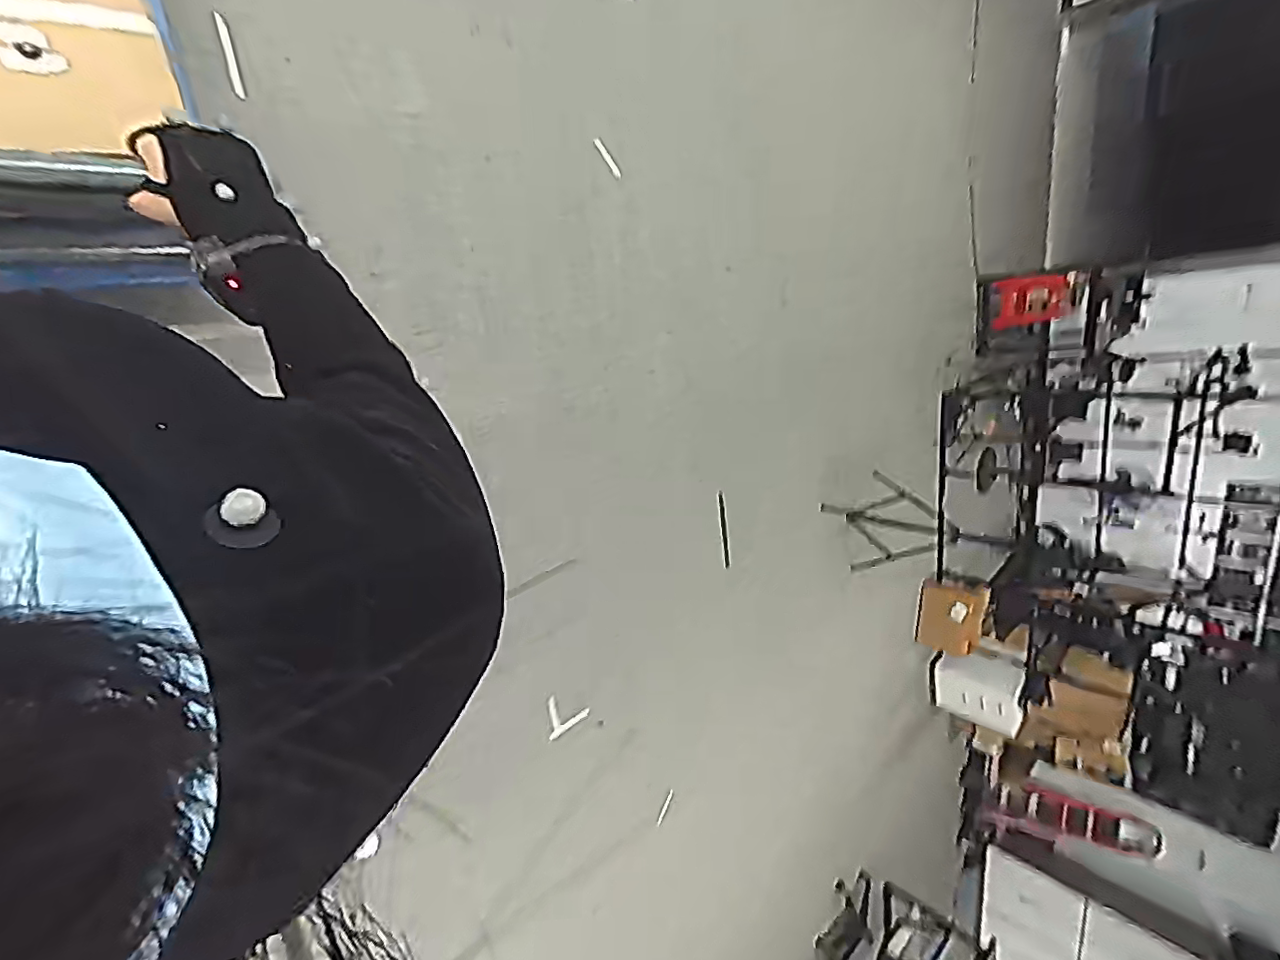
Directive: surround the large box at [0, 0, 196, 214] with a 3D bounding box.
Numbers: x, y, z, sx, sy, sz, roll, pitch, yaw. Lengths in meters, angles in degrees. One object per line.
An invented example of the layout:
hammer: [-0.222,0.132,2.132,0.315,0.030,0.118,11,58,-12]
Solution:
large box: [-0.910,-0.557,0.720,0.408,0.320,0.320,-25,114,-39]
